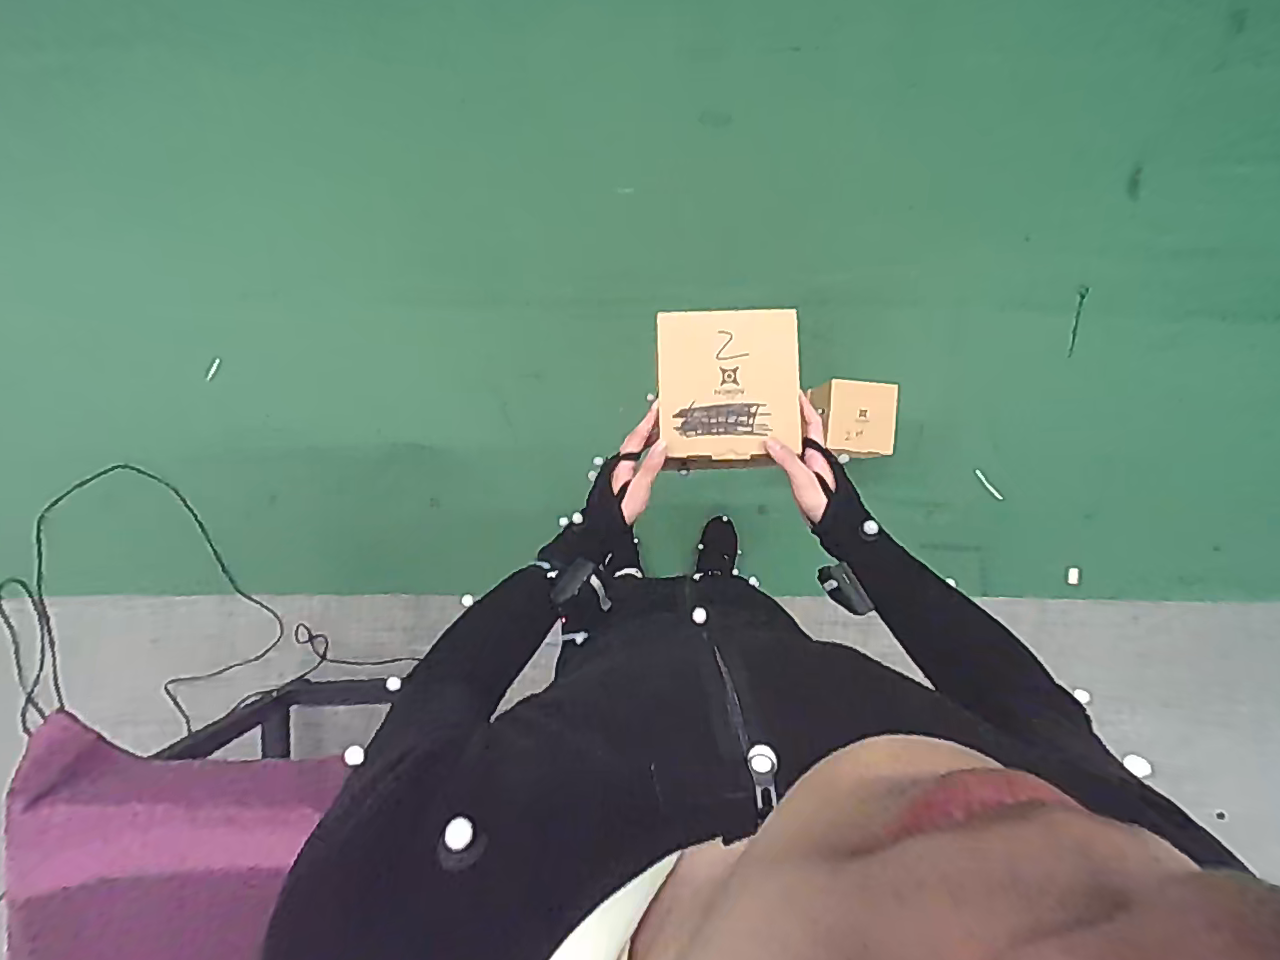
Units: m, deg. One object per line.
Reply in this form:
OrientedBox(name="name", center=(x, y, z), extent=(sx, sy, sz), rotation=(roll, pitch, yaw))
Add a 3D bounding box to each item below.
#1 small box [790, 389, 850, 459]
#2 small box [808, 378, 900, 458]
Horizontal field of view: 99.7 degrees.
OrientedBox(name="small box", center=(0.540, -0.157, 1.558), extent=(0.168, 0.176, 0.179), rotation=(4, 90, 0))
OrientedBox(name="small box", center=(0.544, -0.155, 1.394), extent=(0.168, 0.176, 0.179), rotation=(6, 90, 0))
